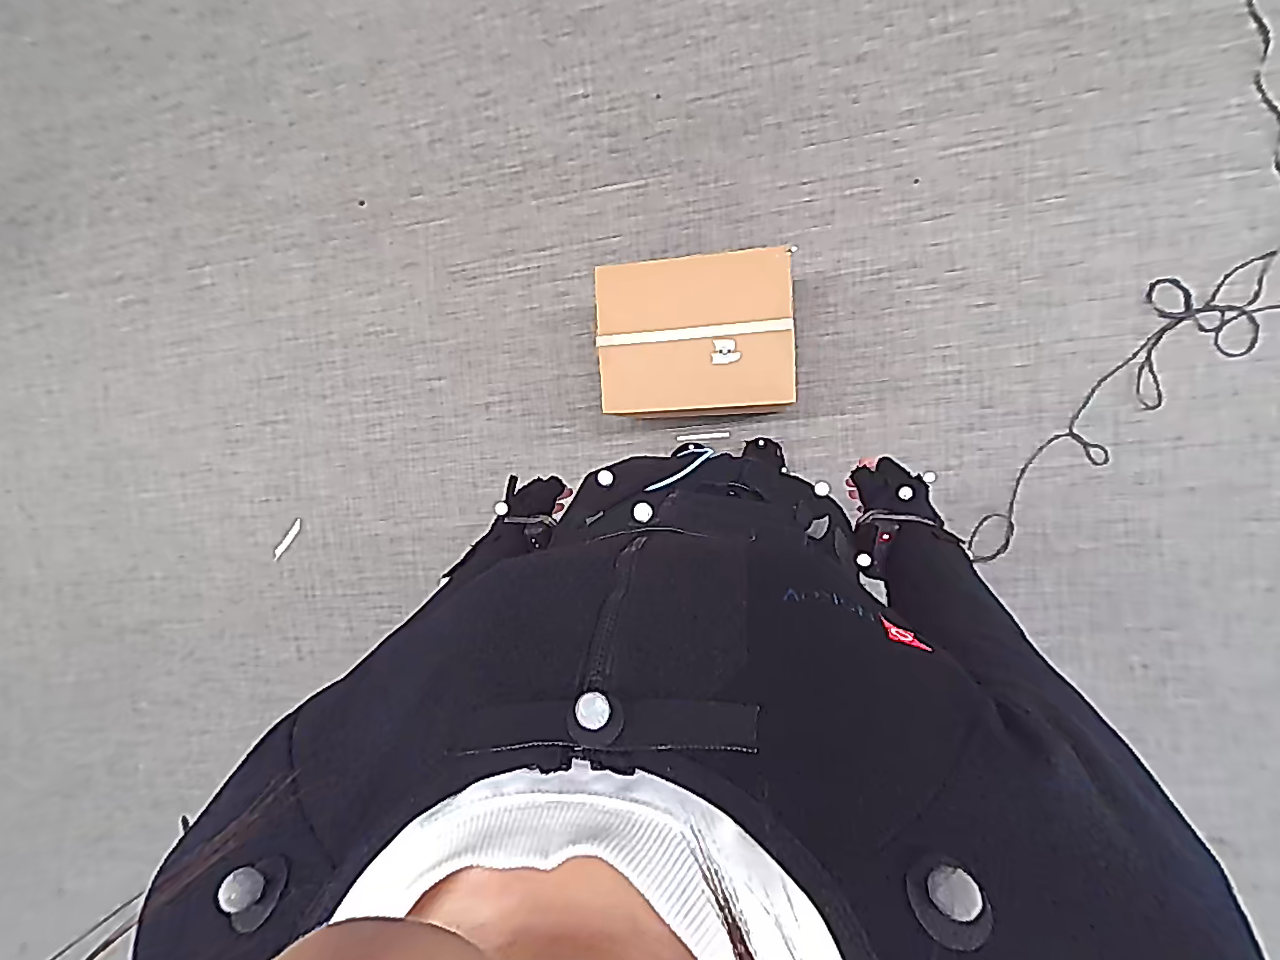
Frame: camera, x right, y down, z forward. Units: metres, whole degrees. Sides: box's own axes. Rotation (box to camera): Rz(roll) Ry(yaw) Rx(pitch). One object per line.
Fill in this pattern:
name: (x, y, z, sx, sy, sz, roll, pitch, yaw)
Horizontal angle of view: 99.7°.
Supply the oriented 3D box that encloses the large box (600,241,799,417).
large box: (0.142, -0.323, 1.264, 0.408, 0.320, 0.320, -2, 94, 10)
